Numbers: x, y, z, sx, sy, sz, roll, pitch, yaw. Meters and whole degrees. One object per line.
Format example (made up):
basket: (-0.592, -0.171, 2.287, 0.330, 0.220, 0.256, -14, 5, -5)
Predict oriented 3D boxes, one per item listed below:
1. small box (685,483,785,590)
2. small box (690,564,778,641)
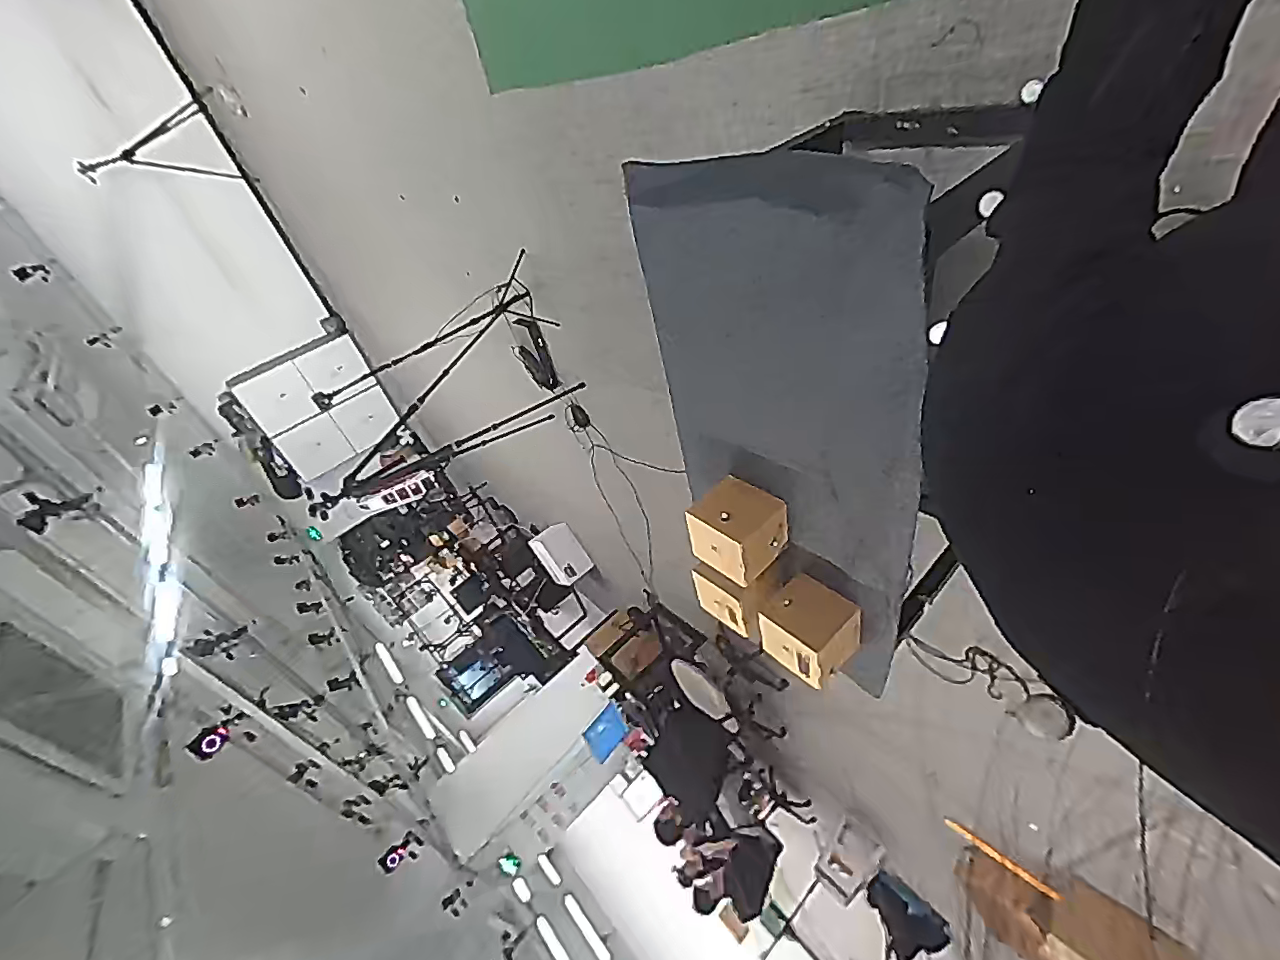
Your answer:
small box: (0.237, 0.131, 1.338, 0.179, 0.176, 0.168, 29, 146, 40)
small box: (0.269, 0.303, 1.503, 0.179, 0.176, 0.168, 29, 146, 43)
